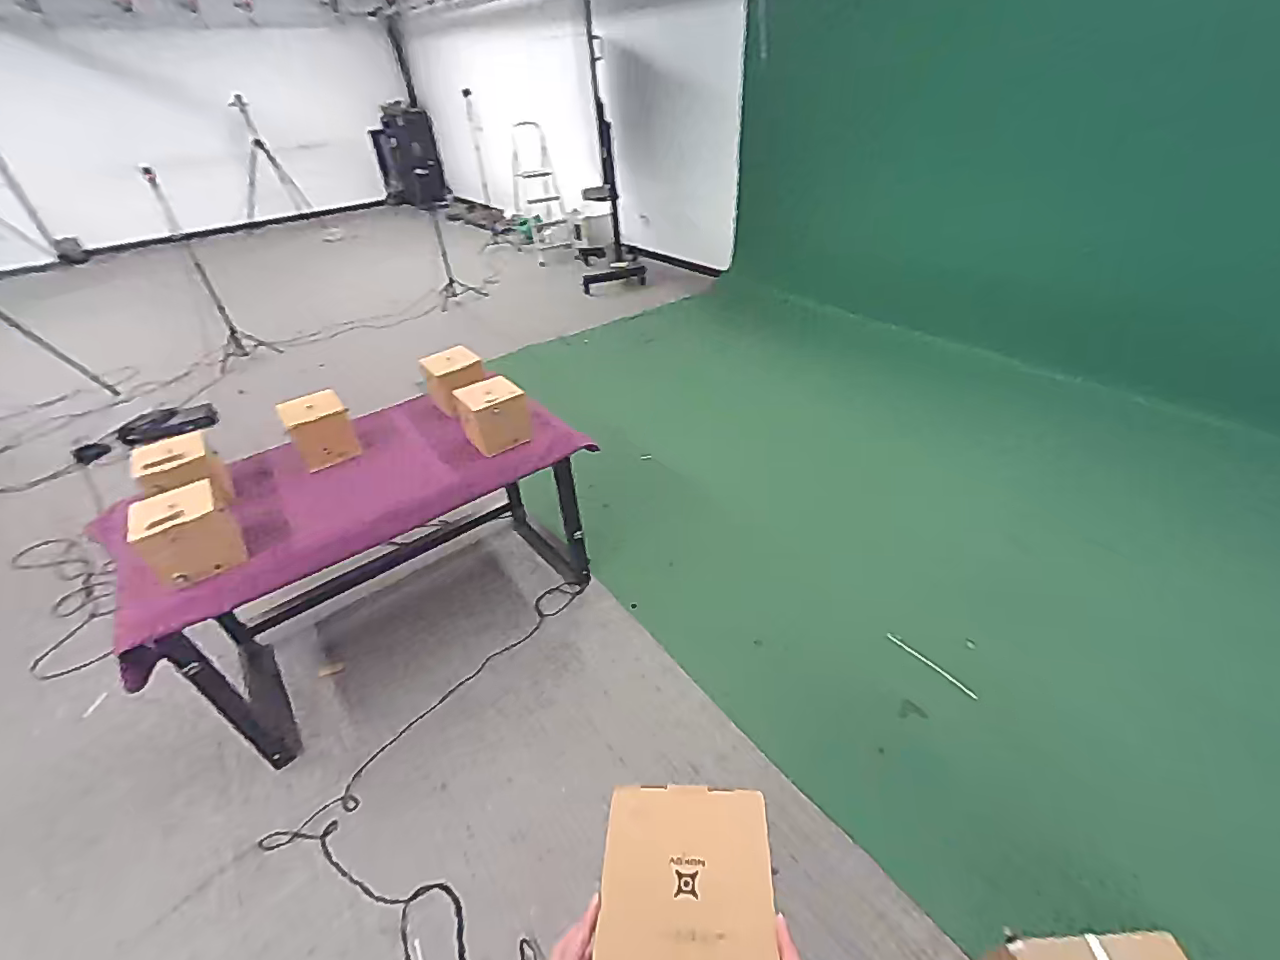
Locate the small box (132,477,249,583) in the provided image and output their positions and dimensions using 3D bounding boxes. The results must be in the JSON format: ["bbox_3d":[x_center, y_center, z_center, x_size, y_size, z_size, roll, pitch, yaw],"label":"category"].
[{"bbox_3d":[-1.094,0.127,1.324,0.168,0.176,0.179,-27,42,-28],"label":"small box"}]

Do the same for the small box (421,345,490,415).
[{"bbox_3d":[-0.641,-0.352,1.910,0.168,0.176,0.179,-30,45,-26],"label":"small box"}]

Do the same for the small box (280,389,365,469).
[{"bbox_3d":[-0.995,-0.161,1.698,0.168,0.176,0.179,-27,44,-28],"label":"small box"}]

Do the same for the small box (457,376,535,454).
[{"bbox_3d":[-0.450,-0.204,1.701,0.168,0.176,0.179,-27,41,-25],"label":"small box"}]
